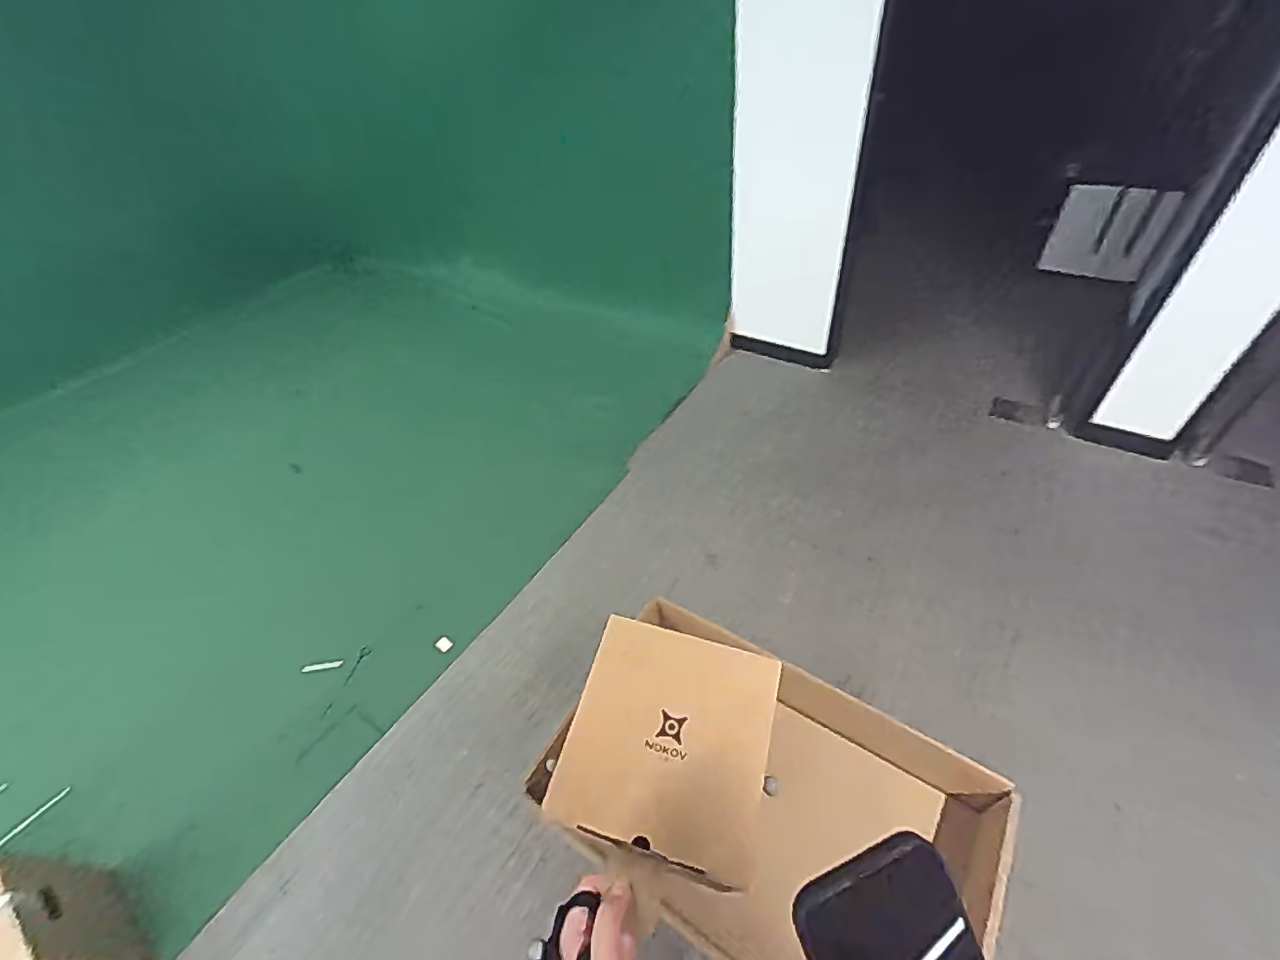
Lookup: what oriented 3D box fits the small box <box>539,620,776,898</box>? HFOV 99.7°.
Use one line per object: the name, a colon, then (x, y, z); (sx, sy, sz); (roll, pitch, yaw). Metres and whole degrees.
small box: (0.023, 0.263, 0.515); (0.168, 0.176, 0.179); (12, 56, 11)
